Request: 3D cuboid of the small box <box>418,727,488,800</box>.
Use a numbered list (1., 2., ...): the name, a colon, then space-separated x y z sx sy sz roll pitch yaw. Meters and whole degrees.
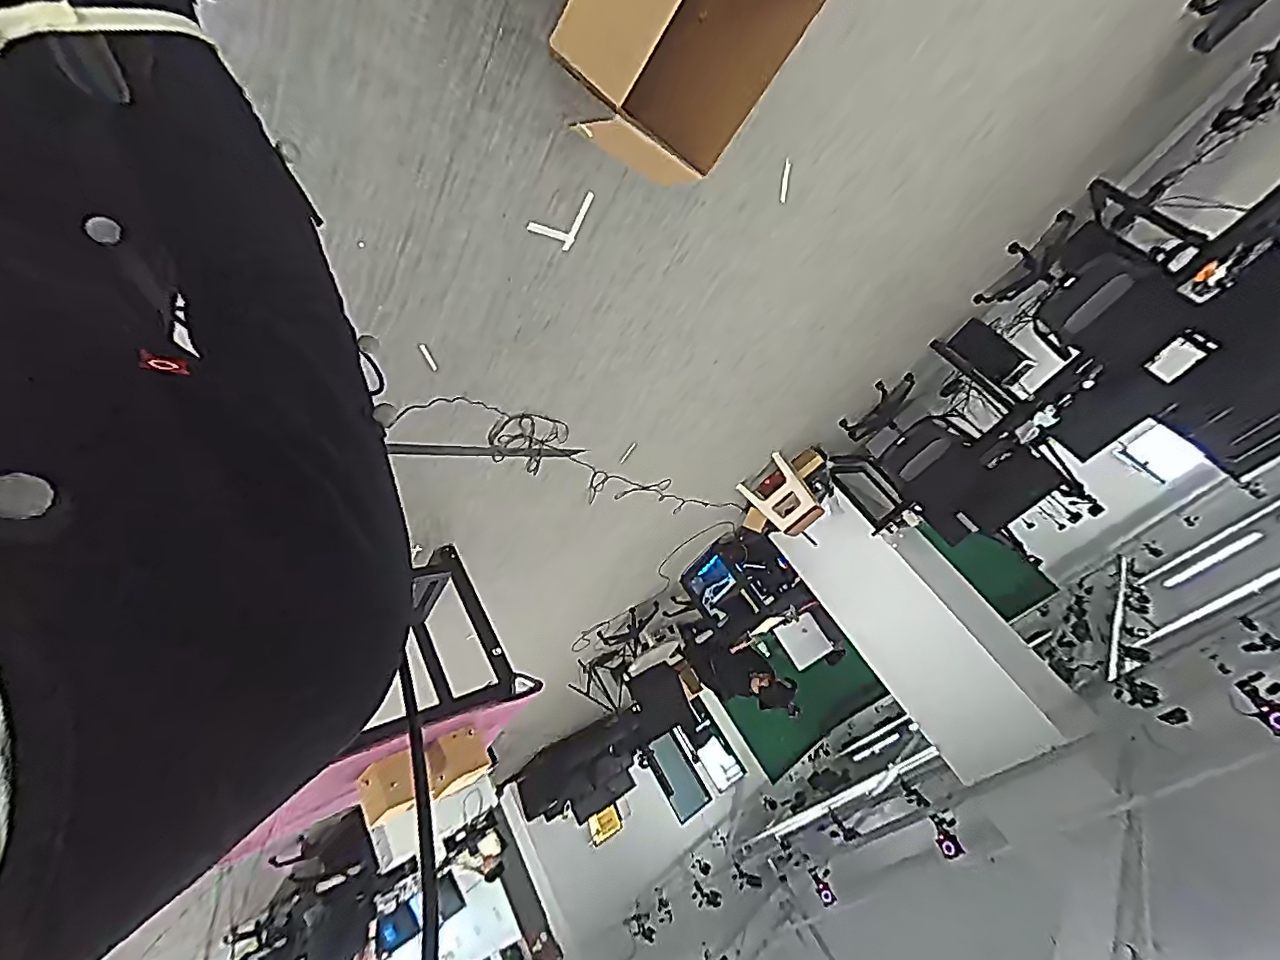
1. small box: -0.715 1.064 2.050 0.168 0.176 0.179 4 134 -52
